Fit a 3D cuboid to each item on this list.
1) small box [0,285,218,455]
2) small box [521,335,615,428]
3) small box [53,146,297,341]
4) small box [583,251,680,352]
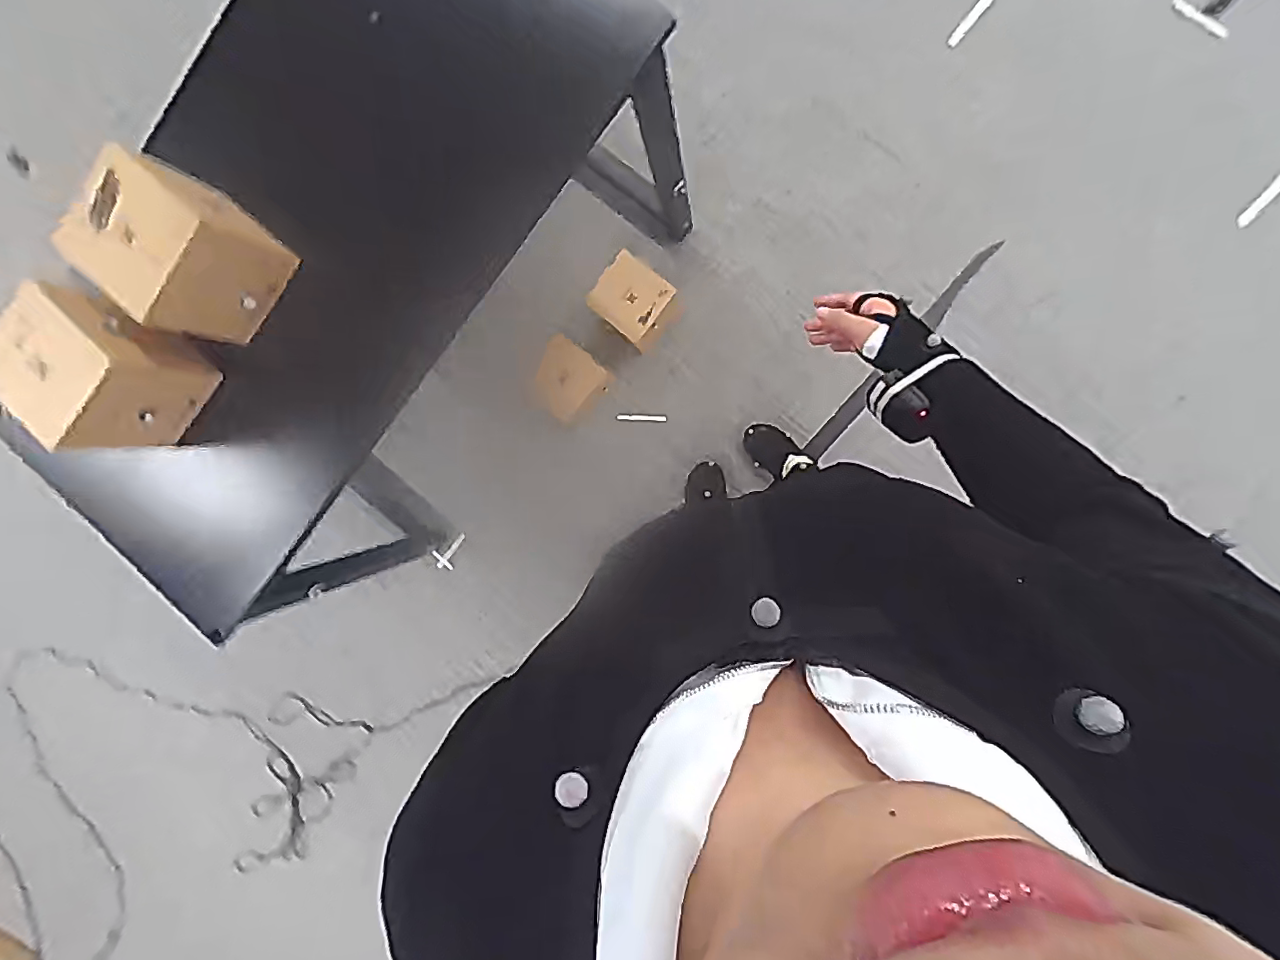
[{"bbox_3d":[-0.804,-0.157,0.819,0.179,0.176,0.168,43,98,4],"label":"small box"},{"bbox_3d":[-0.183,-0.258,1.457,0.168,0.176,0.179,40,99,5],"label":"small box"},{"bbox_3d":[-0.659,-0.325,0.786,0.179,0.176,0.168,39,98,3],"label":"small box"},{"bbox_3d":[-0.016,-0.456,1.416,0.179,0.176,0.168,39,99,5],"label":"small box"}]
